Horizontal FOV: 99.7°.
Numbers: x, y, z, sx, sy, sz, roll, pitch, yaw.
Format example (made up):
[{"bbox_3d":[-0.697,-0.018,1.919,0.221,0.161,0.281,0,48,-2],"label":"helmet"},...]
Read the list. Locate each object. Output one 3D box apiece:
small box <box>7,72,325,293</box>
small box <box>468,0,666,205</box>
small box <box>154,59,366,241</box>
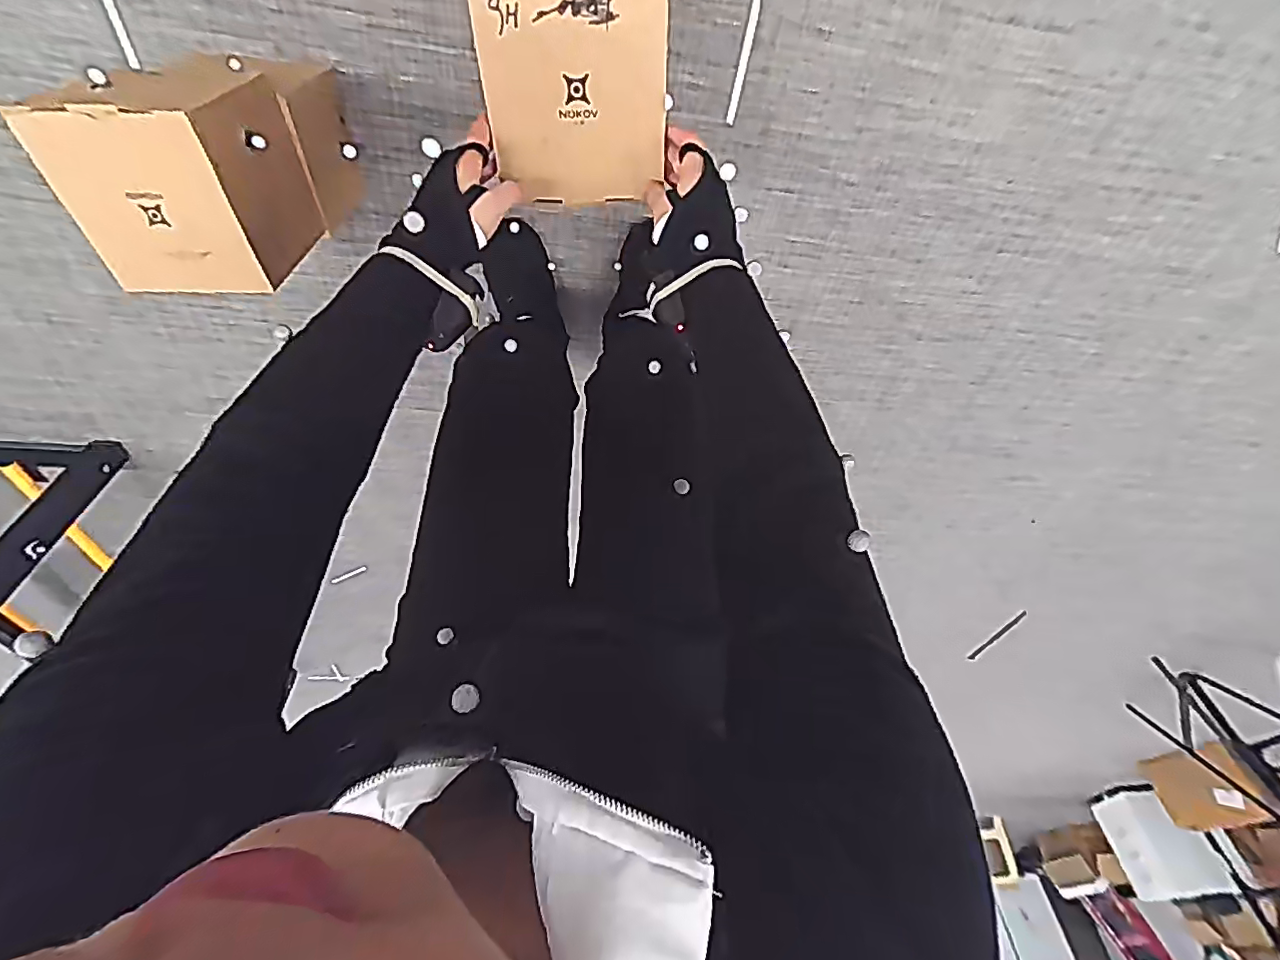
[{"bbox_3d":[-0.488,-0.329,0.598,0.168,0.176,0.179,0,138,-2],"label":"small box"},{"bbox_3d":[-0.063,-0.404,0.549,0.168,0.176,0.179,-2,137,-2],"label":"small box"},{"bbox_3d":[-0.497,-0.439,0.718,0.179,0.176,0.168,1,136,-5],"label":"small box"}]
